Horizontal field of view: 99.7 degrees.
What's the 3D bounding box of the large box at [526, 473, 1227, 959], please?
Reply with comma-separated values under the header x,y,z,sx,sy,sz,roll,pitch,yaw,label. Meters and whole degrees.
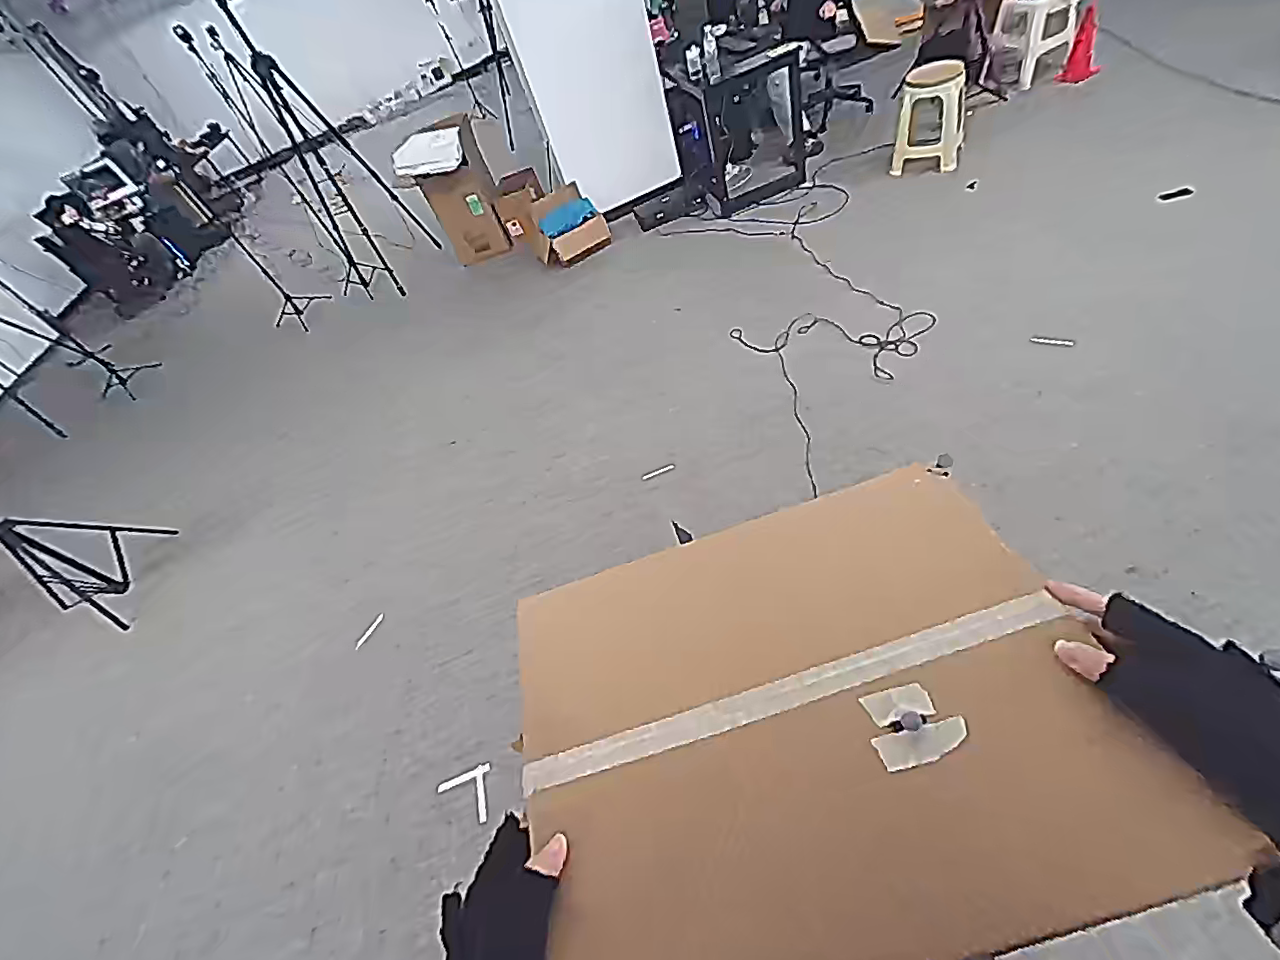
x,y,z,sx,sy,sz,roll,pitch,yaw,label
0.146,0.260,0.513,0.408,0.320,0.320,-20,46,2,large box
